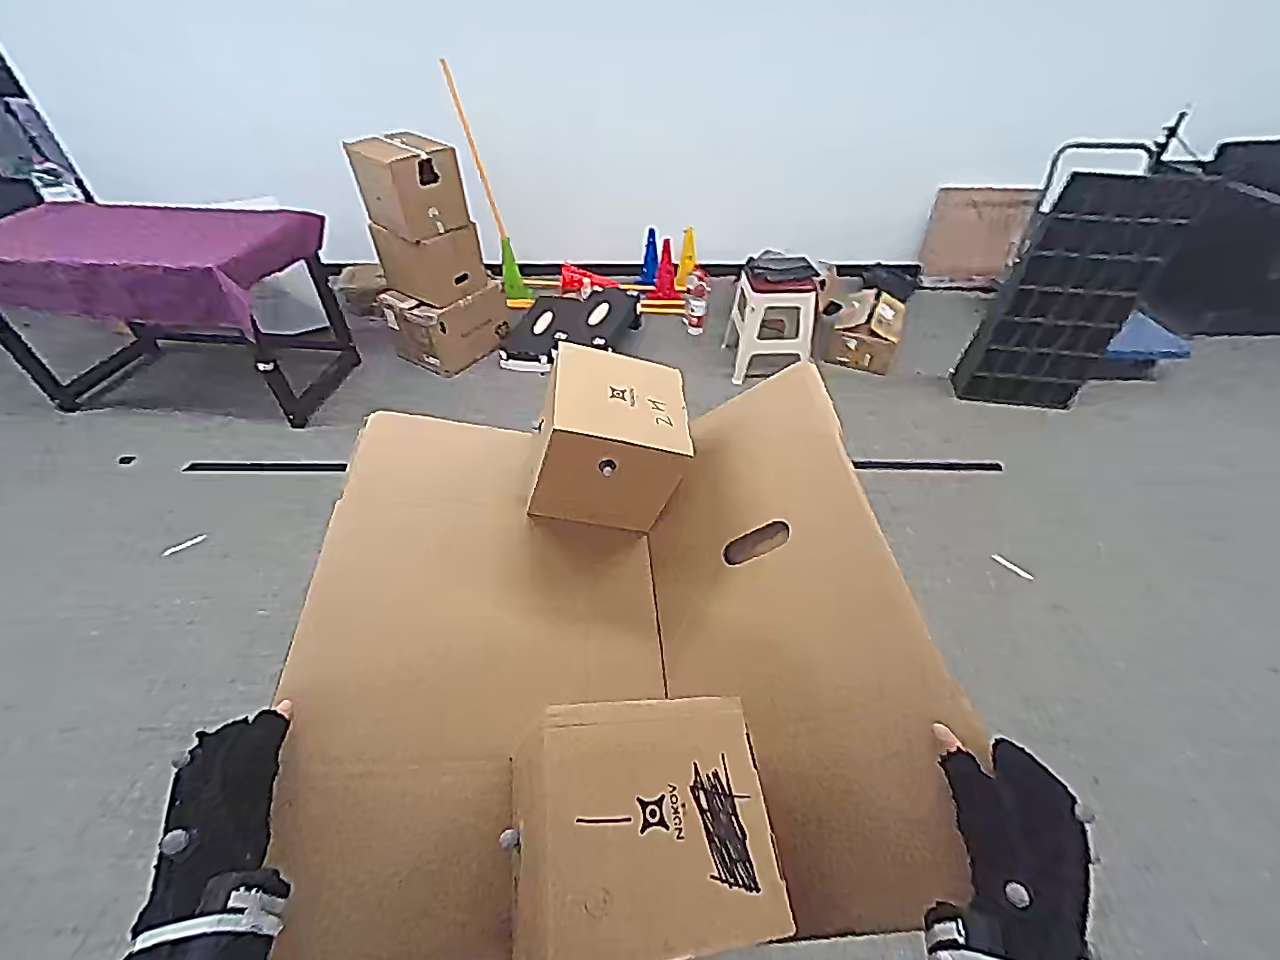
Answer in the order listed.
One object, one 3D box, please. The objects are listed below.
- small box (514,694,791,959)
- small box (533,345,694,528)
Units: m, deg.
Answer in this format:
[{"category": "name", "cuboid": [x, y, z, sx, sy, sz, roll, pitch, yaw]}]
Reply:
[{"category": "small box", "cuboid": [-0.006, 0.294, 0.464, 0.179, 0.176, 0.168, 5, 50, -19]}, {"category": "small box", "cuboid": [-0.043, -0.052, 0.744, 0.179, 0.176, 0.168, 12, 48, -16]}]
